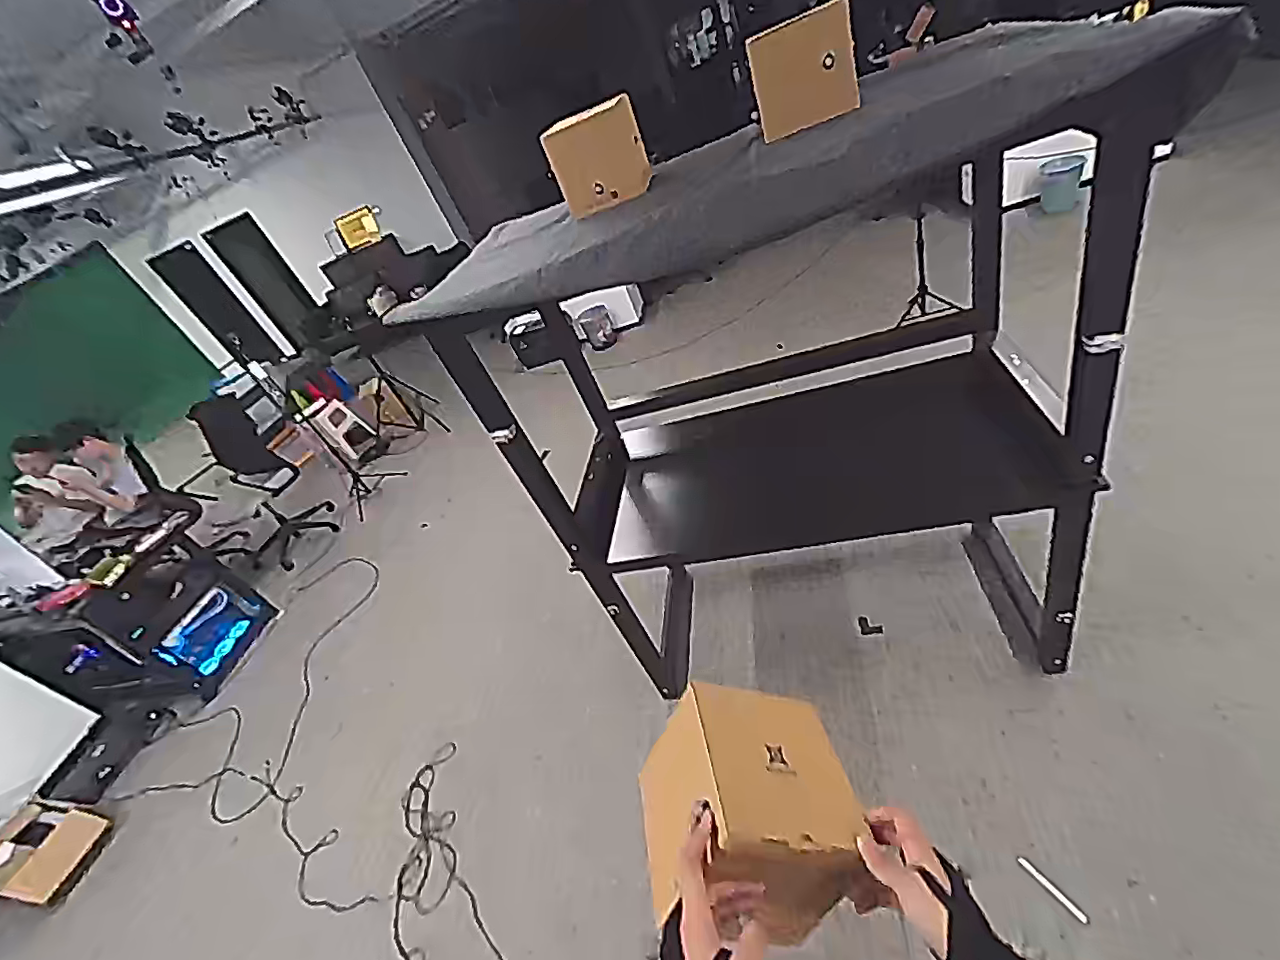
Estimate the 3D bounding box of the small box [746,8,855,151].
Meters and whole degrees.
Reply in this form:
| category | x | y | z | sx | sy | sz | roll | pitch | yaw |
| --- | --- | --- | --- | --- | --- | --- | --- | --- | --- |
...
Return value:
| category | x | y | z | sx | sy | sz | roll | pitch | yaw |
| --- | --- | --- | --- | --- | --- | --- | --- | --- | --- |
| small box | 0.310 | -0.767 | 1.040 | 0.179 | 0.176 | 0.168 | -10 | 37 | 20 |
